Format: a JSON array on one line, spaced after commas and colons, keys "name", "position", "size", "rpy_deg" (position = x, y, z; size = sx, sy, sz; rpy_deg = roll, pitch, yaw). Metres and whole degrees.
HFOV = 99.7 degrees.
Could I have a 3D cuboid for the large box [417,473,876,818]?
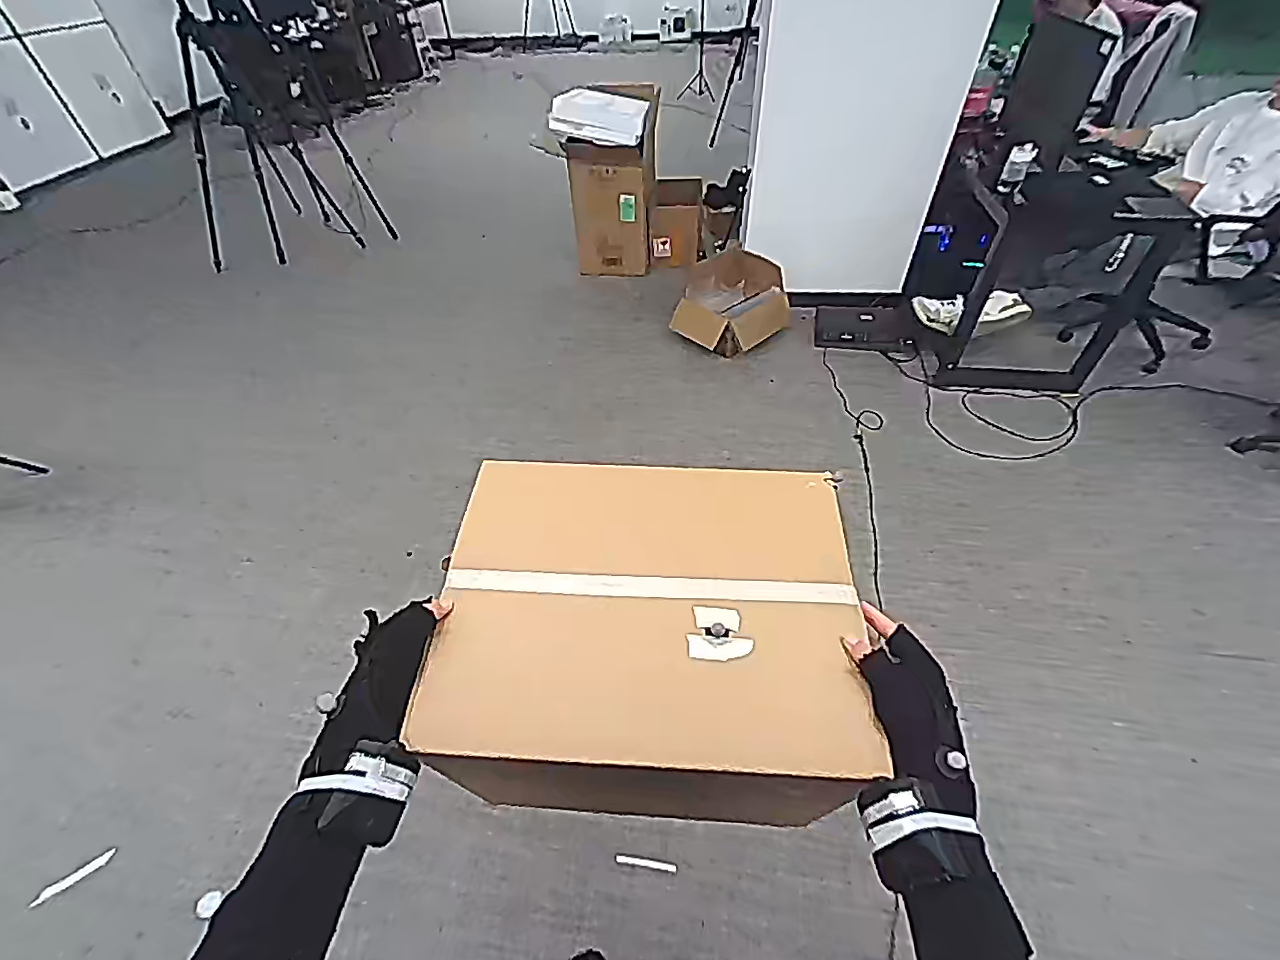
[{"name": "large box", "position": [0.009, 0.210, 0.666], "size": [0.408, 0.320, 0.320], "rpy_deg": [3, 52, 2]}]
